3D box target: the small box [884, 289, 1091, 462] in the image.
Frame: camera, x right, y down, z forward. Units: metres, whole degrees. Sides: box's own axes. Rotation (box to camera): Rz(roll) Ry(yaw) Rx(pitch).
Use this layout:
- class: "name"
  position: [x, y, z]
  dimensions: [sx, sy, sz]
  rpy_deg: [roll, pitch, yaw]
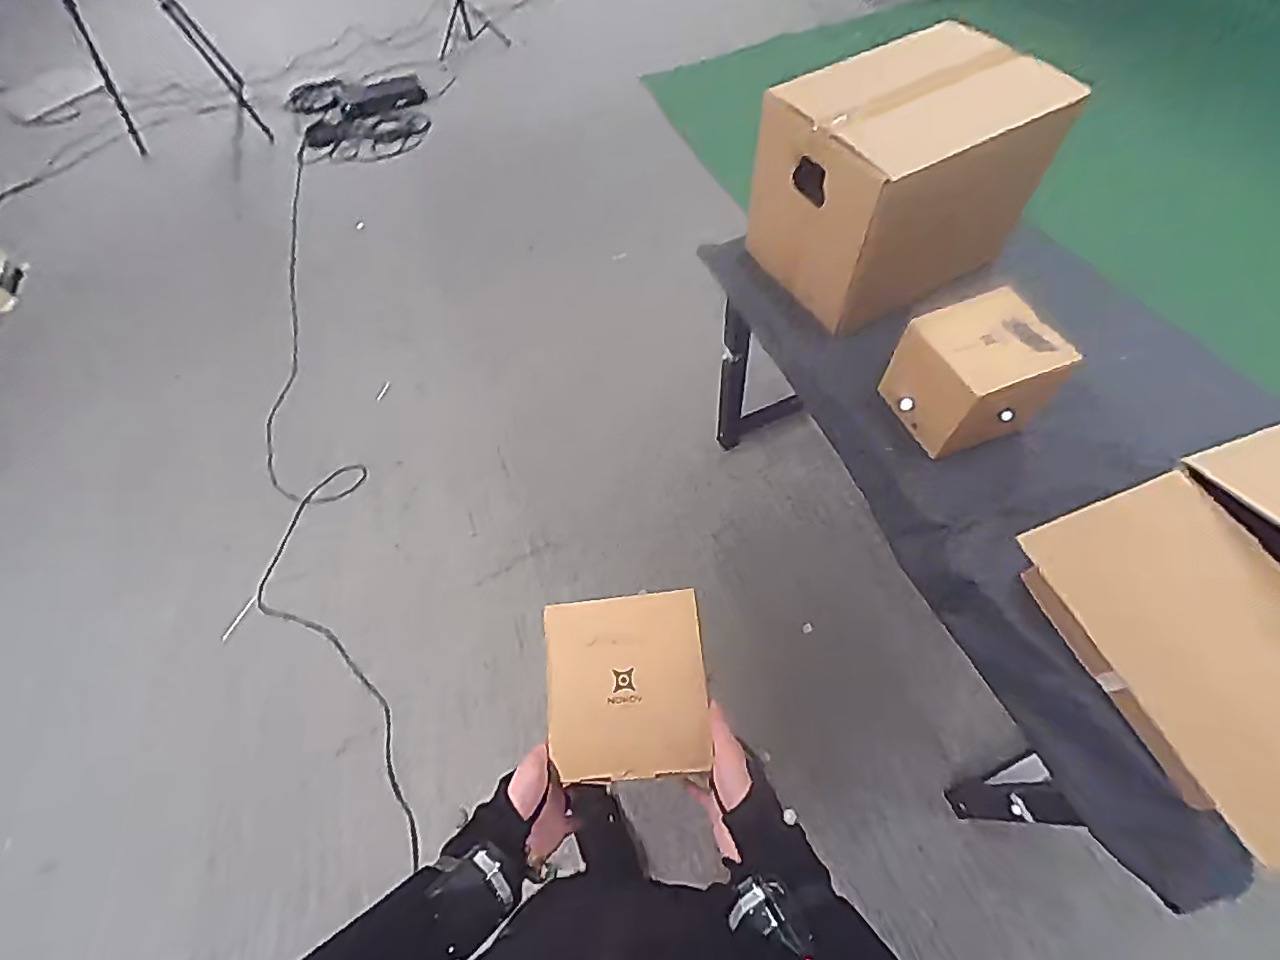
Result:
- class: "small box"
  position: [0.516, -0.155, 0.835]
  dimensions: [0.179, 0.176, 0.168]
  rpy_deg: [-20, 61, -5]
